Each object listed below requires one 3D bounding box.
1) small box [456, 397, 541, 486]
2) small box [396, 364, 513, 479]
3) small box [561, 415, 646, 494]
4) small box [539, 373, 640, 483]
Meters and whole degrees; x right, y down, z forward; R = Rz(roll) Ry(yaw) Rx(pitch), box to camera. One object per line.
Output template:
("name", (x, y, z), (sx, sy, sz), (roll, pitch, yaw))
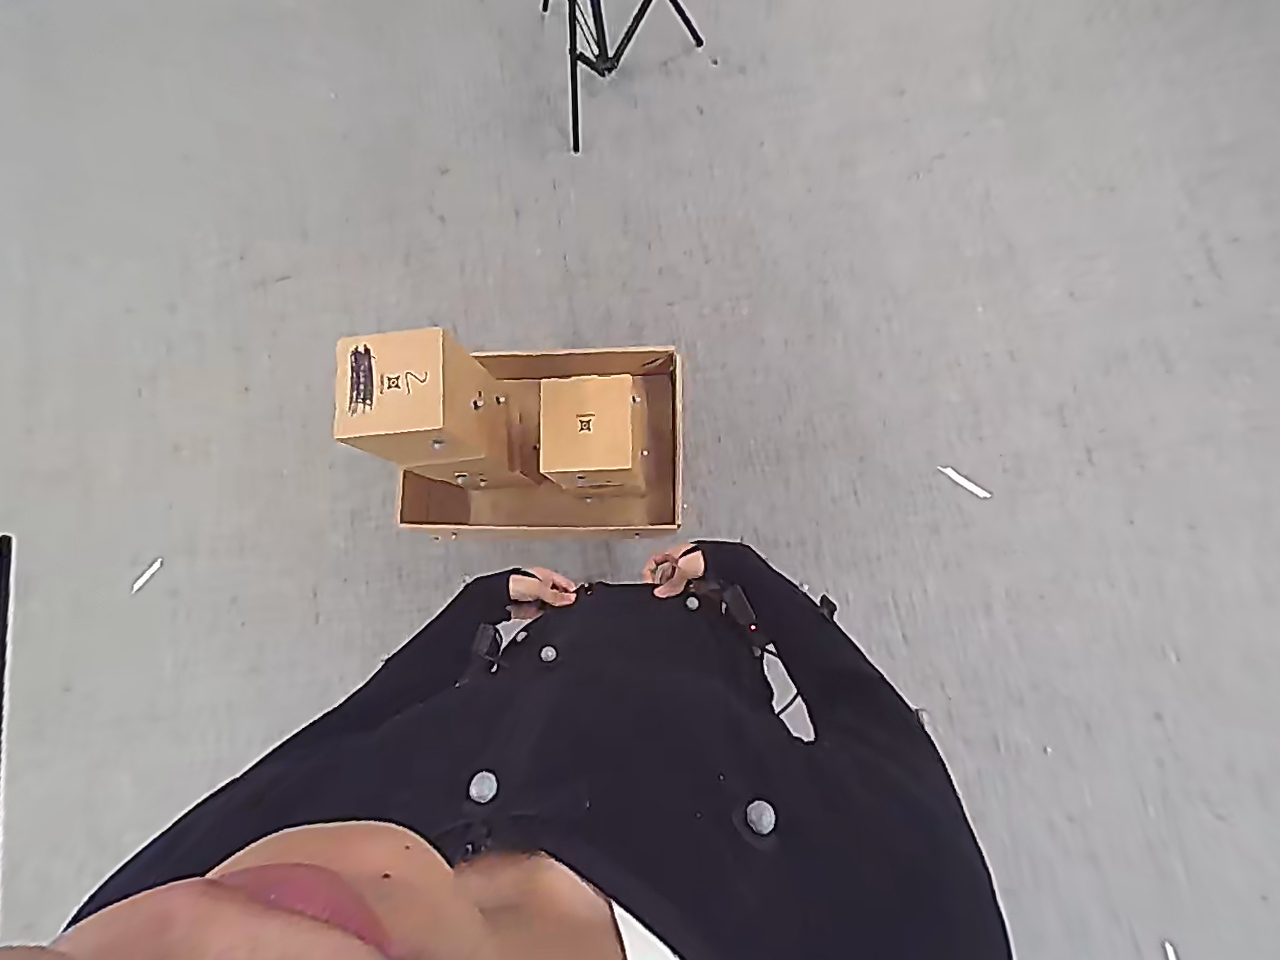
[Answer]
("small box", (-0.331, -0.080, 1.221), (0.179, 0.176, 0.168), (-3, 81, 4))
("small box", (-0.355, -0.108, 1.060), (0.168, 0.176, 0.179), (-6, 80, 6))
("small box", (-0.077, -0.063, 1.196), (0.168, 0.176, 0.179), (-3, 80, 5))
("small box", (-0.090, -0.091, 1.036), (0.168, 0.176, 0.179), (-2, 80, 5))
